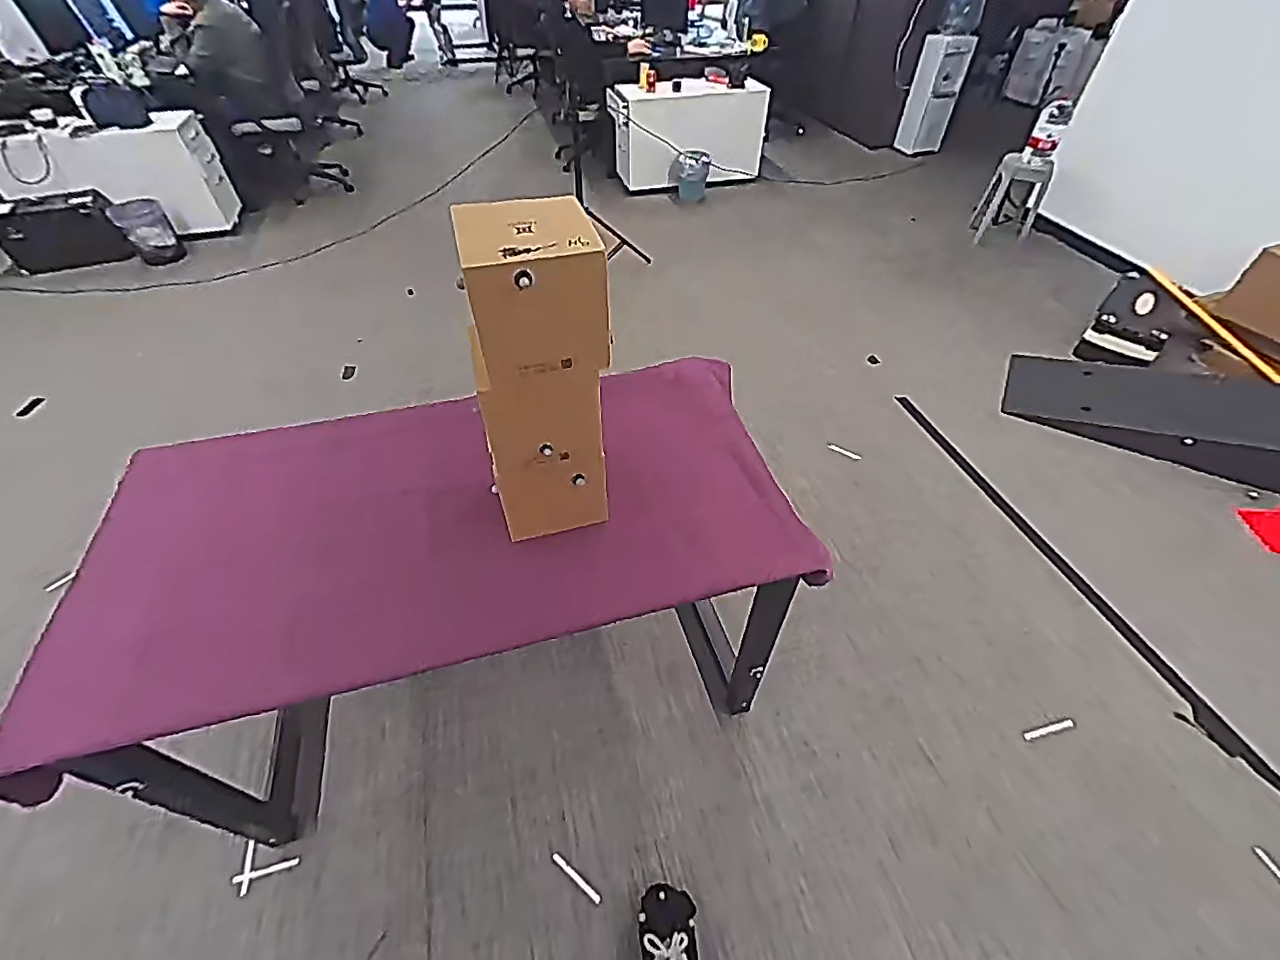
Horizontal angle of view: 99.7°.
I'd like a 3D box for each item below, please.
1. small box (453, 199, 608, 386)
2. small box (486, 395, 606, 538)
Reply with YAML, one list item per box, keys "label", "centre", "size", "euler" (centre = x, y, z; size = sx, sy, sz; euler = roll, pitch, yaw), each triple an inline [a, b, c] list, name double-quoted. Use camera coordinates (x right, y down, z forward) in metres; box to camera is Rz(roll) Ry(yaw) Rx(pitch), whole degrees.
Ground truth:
- label: "small box"
  centre: [-0.142, -0.250, 0.718]
  size: [0.168, 0.176, 0.179]
  euler: [-13, 48, -11]
- label: "small box"
  centre: [-0.161, -0.022, 0.954]
  size: [0.179, 0.176, 0.168]
  euler: [-13, 48, -11]
